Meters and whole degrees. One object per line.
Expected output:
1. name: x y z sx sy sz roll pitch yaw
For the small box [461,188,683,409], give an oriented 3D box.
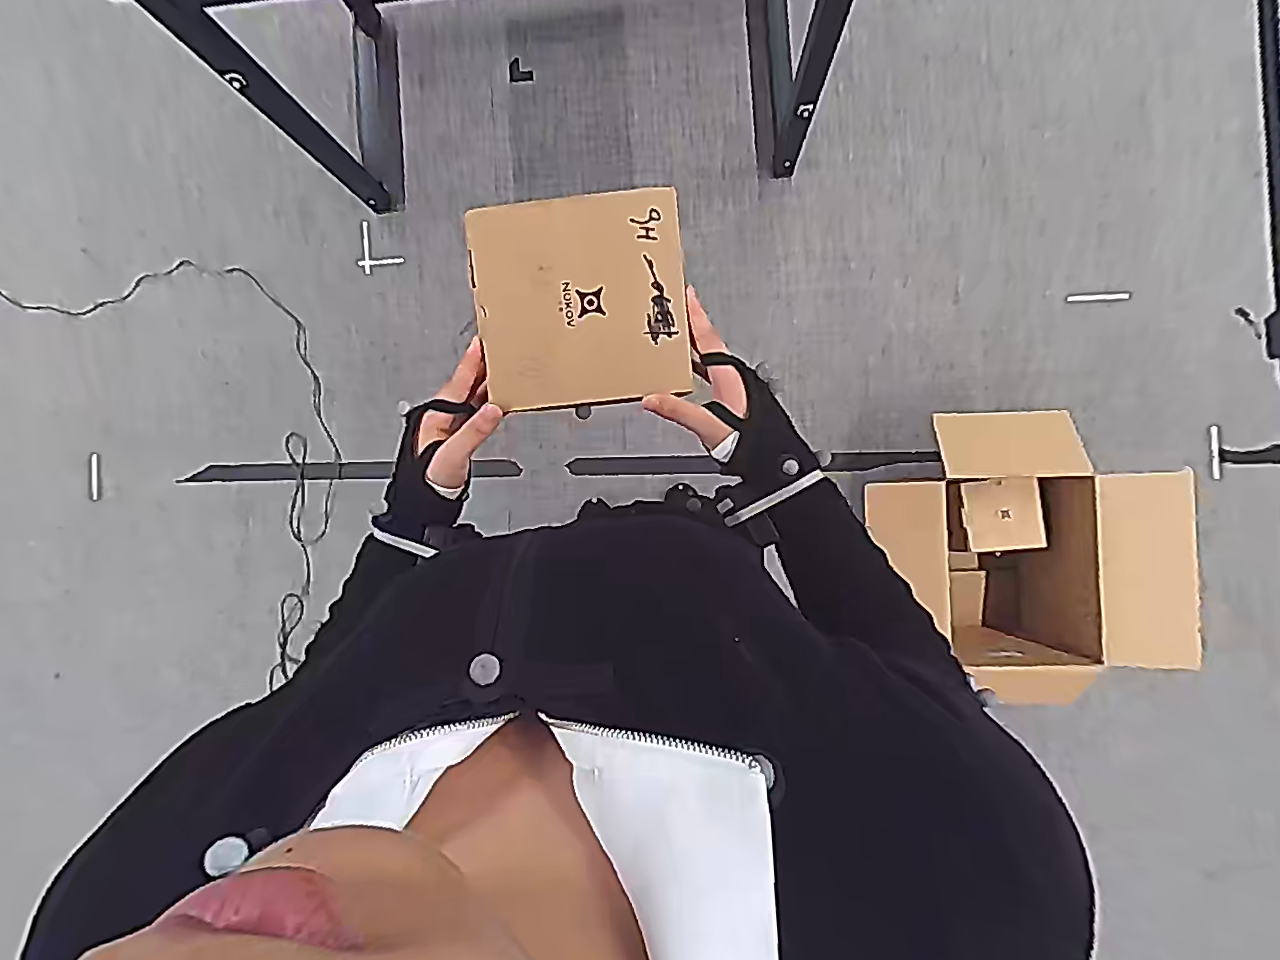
1. small box: -0.053 -0.159 0.532 0.179 0.176 0.168 -6 97 2
